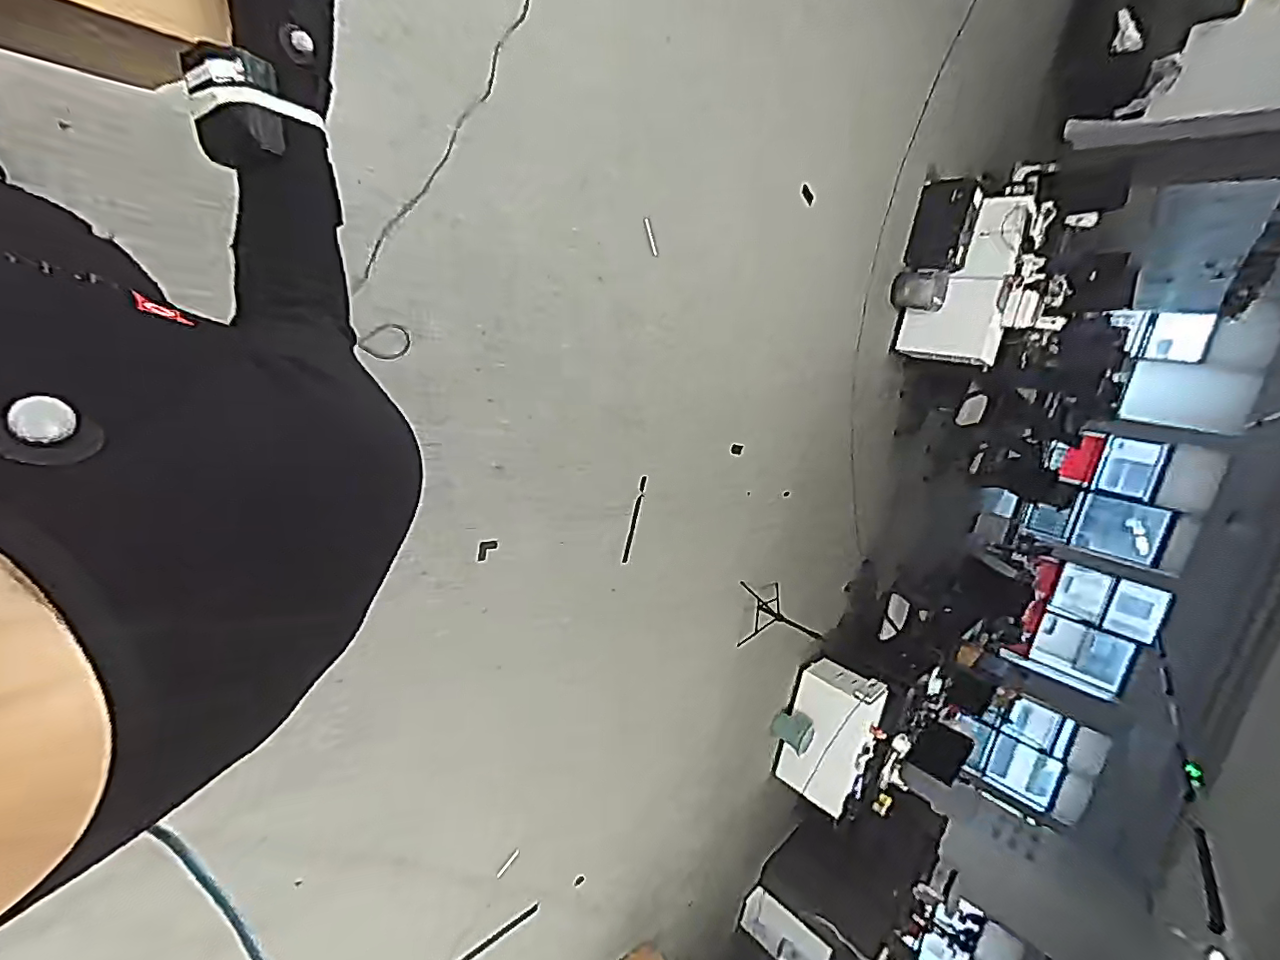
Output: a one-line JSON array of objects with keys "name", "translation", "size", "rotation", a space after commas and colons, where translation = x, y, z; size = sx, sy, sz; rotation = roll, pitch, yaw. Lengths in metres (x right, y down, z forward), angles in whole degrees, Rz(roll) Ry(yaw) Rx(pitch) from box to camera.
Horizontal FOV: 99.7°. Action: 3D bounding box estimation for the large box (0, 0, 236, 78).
[{"name": "large box", "translation": [-0.519, -0.479, 0.289], "size": [0.408, 0.320, 0.320], "rotation": [-14, 121, -48]}]
